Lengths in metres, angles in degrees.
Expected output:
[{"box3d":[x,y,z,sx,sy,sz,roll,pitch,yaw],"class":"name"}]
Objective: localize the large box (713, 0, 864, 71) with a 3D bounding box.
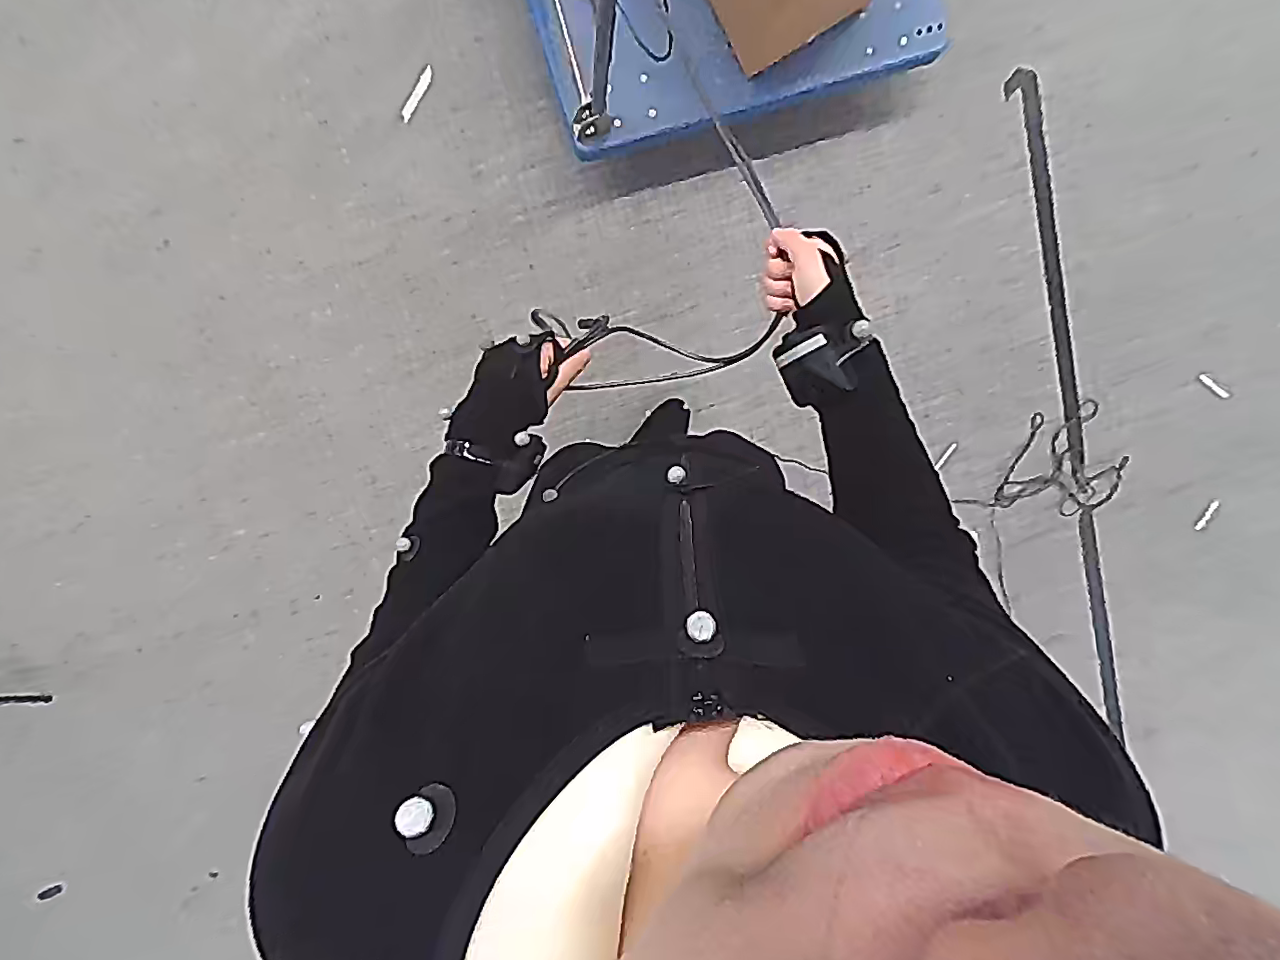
[{"box3d":[0.273,-1.091,0.979,0.320,0.320,0.408,-32,102,3],"class":"large box"}]
